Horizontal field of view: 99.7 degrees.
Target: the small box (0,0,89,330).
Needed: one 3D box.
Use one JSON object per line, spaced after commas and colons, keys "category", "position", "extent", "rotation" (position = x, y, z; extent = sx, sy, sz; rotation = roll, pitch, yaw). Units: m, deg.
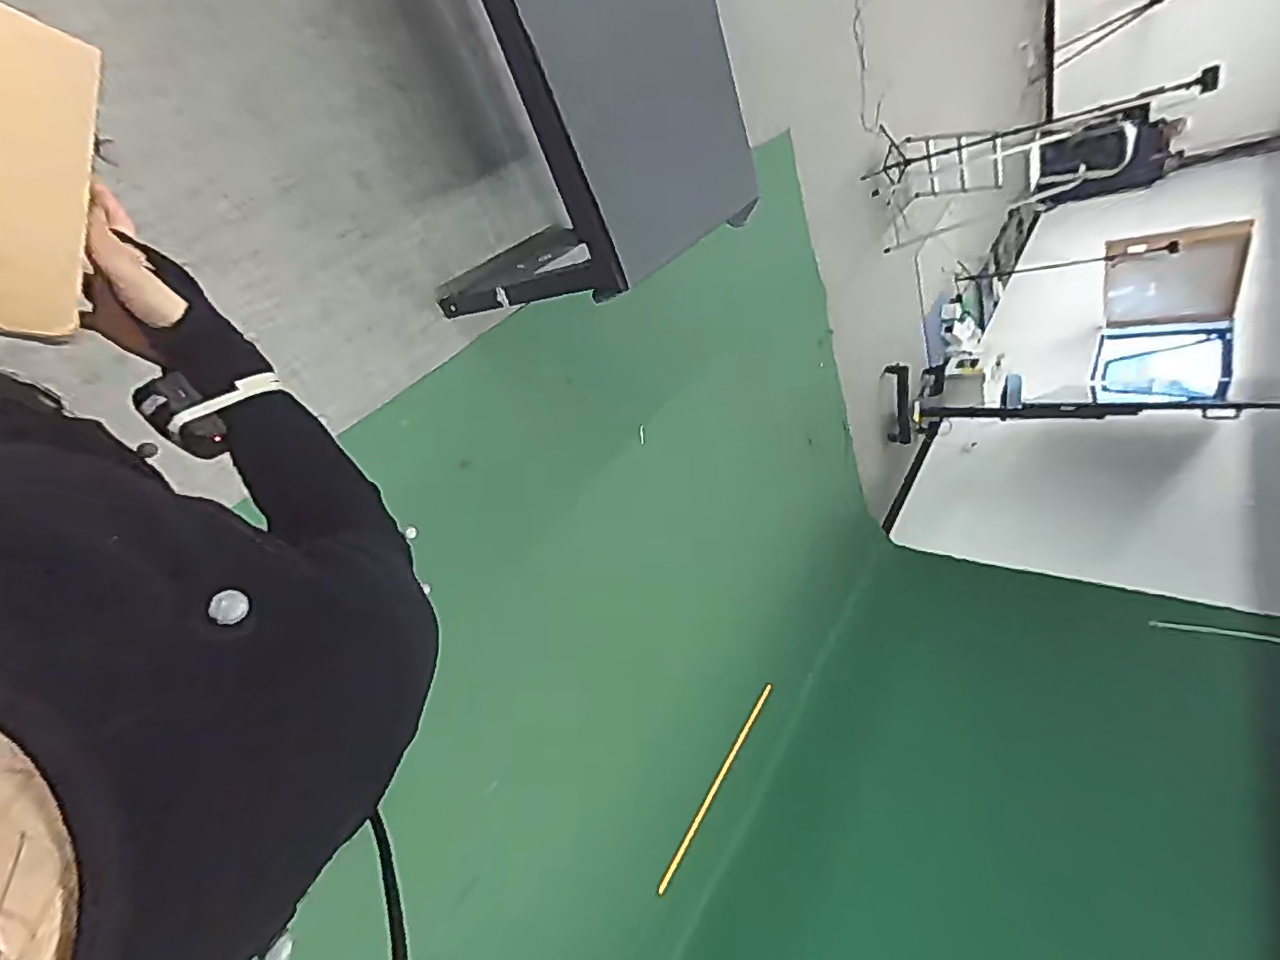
{"category": "small box", "position": [-0.451, -0.194, 0.309], "extent": [0.168, 0.176, 0.179], "rotation": [5, 95, -51]}
